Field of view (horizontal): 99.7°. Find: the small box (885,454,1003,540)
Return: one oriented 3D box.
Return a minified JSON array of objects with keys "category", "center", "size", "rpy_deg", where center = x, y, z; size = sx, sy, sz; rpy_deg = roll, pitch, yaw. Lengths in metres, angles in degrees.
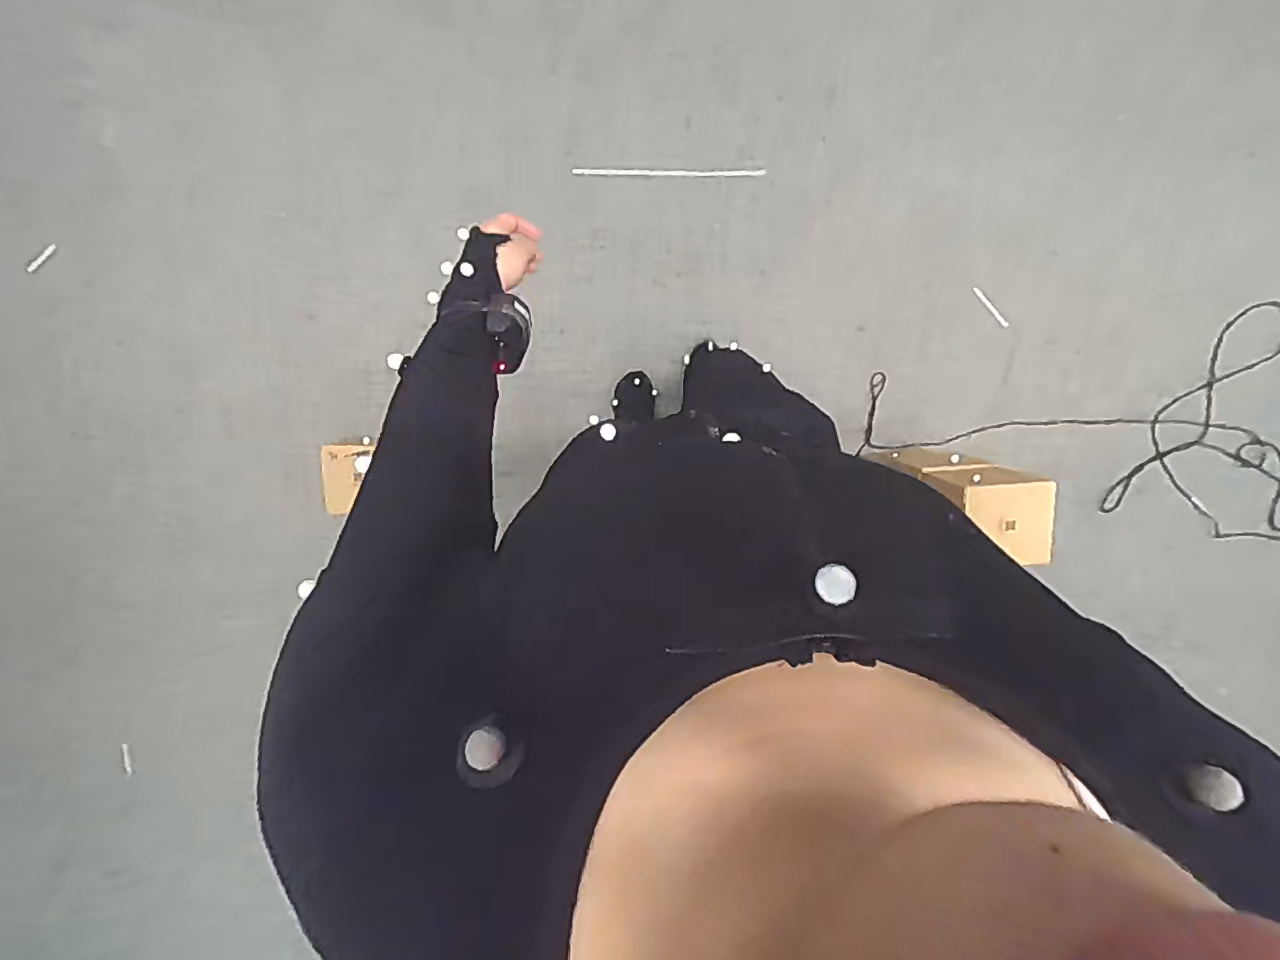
[{"category":"small box","center":[0.696,0.033,1.253],"size":[0.179,0.176,0.168],"rpy_deg":[-4,100,0]}]

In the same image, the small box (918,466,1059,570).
[{"category":"small box","center":[0.695,0.070,1.095],"size":[0.179,0.176,0.168],"rpy_deg":[-5,101,1]}]

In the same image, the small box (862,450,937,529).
[{"category":"small box","center":[0.698,0.020,1.417],"size":[0.179,0.176,0.168],"rpy_deg":[-8,101,0]}]

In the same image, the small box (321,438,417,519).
[{"category":"small box","center":[-0.684,-0.008,1.385],"size":[0.168,0.176,0.179],"rpy_deg":[1,101,-1]}]
